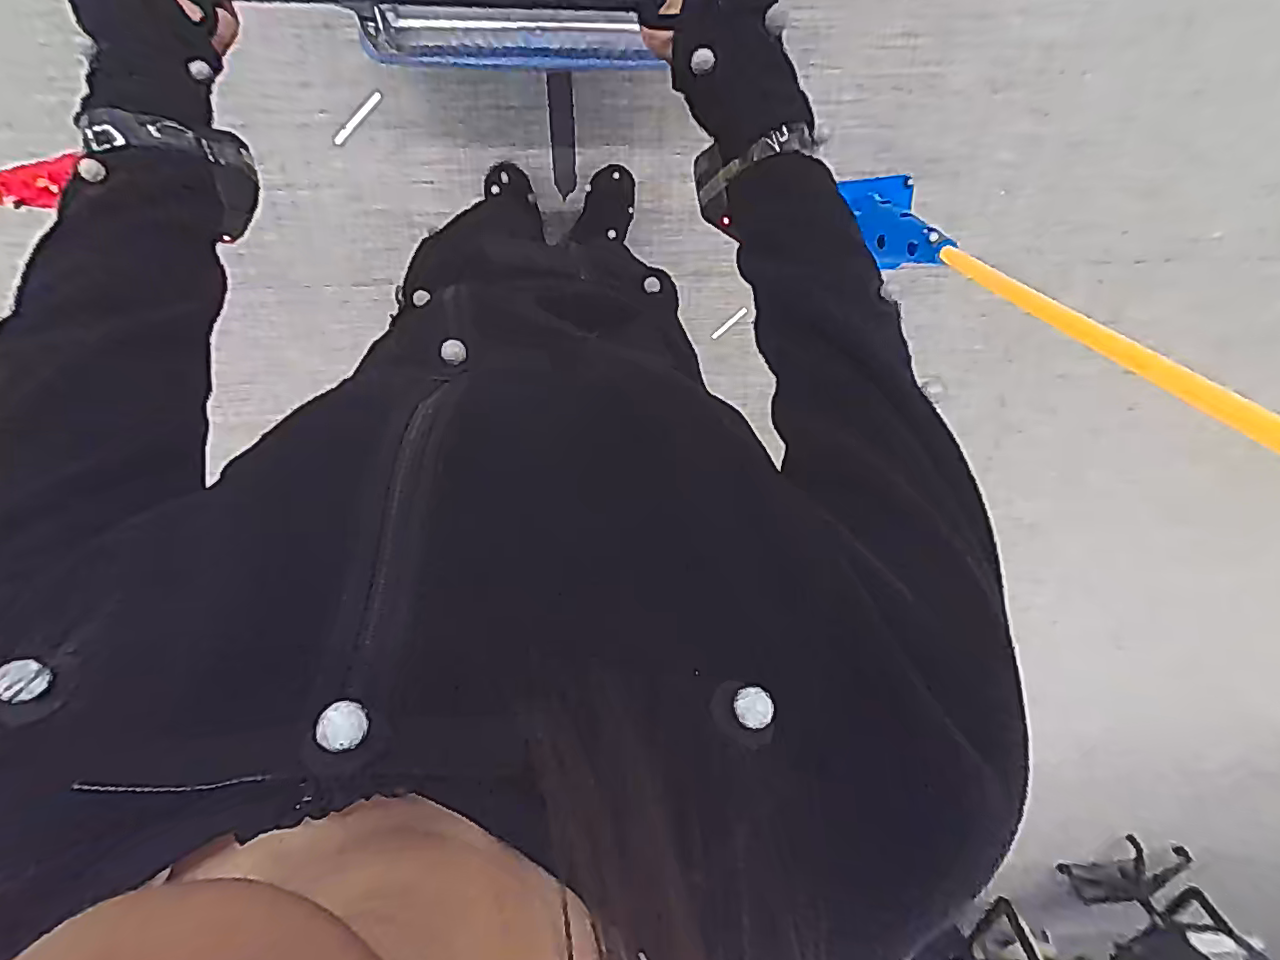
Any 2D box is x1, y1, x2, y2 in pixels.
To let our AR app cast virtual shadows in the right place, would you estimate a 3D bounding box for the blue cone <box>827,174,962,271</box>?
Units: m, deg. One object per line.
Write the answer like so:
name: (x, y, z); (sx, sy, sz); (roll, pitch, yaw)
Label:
blue cone: (0.529, -0.500, 1.093); (0.193, 0.380, 0.192); (-5, 121, 0)
